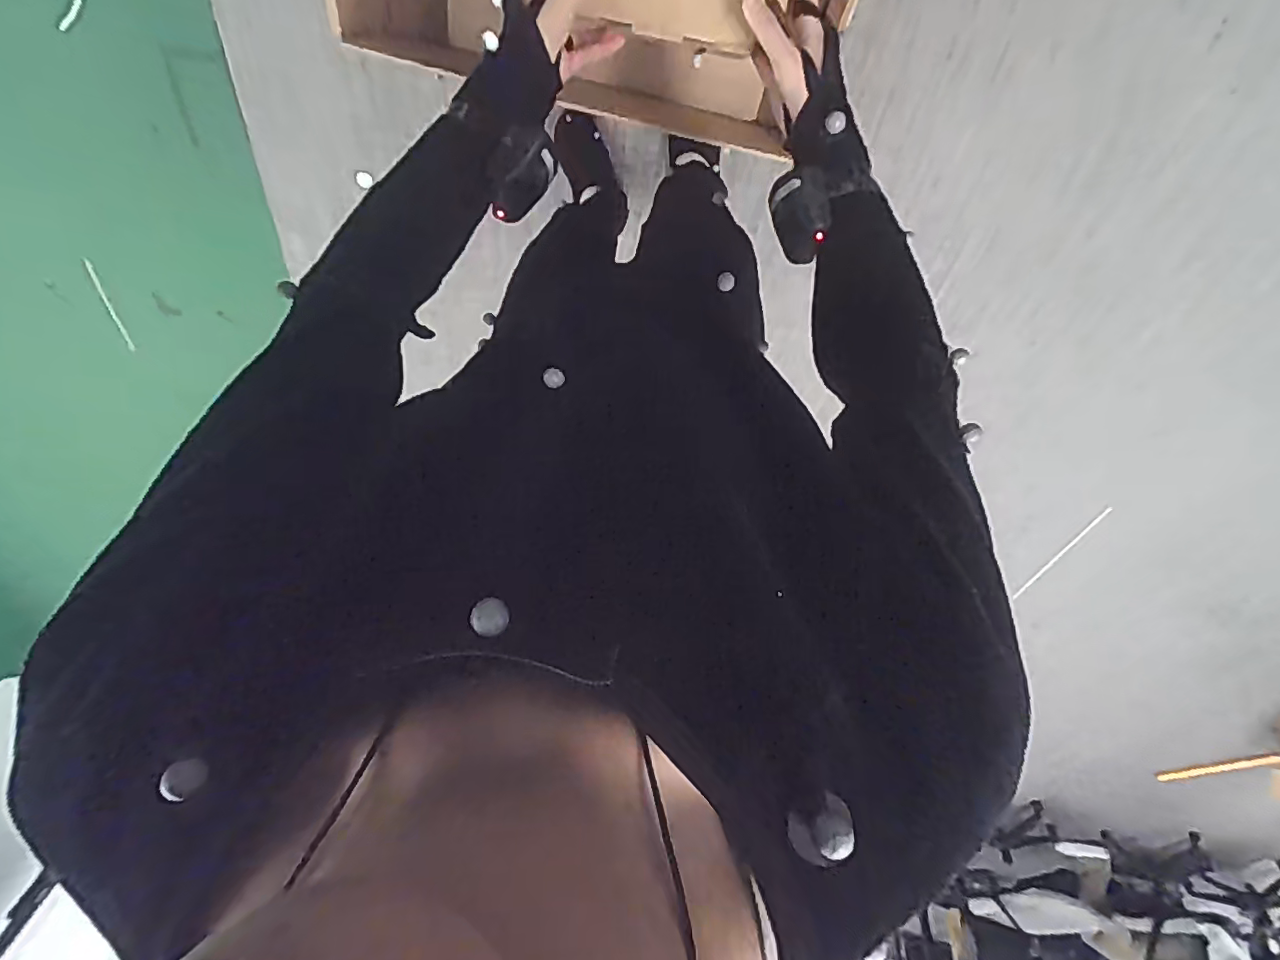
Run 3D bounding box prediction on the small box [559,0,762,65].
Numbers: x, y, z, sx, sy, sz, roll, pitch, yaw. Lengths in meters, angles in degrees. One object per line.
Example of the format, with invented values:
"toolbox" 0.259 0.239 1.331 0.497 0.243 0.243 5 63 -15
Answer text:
"small box" 0.037 -0.480 0.461 0.168 0.176 0.179 12 128 -2
